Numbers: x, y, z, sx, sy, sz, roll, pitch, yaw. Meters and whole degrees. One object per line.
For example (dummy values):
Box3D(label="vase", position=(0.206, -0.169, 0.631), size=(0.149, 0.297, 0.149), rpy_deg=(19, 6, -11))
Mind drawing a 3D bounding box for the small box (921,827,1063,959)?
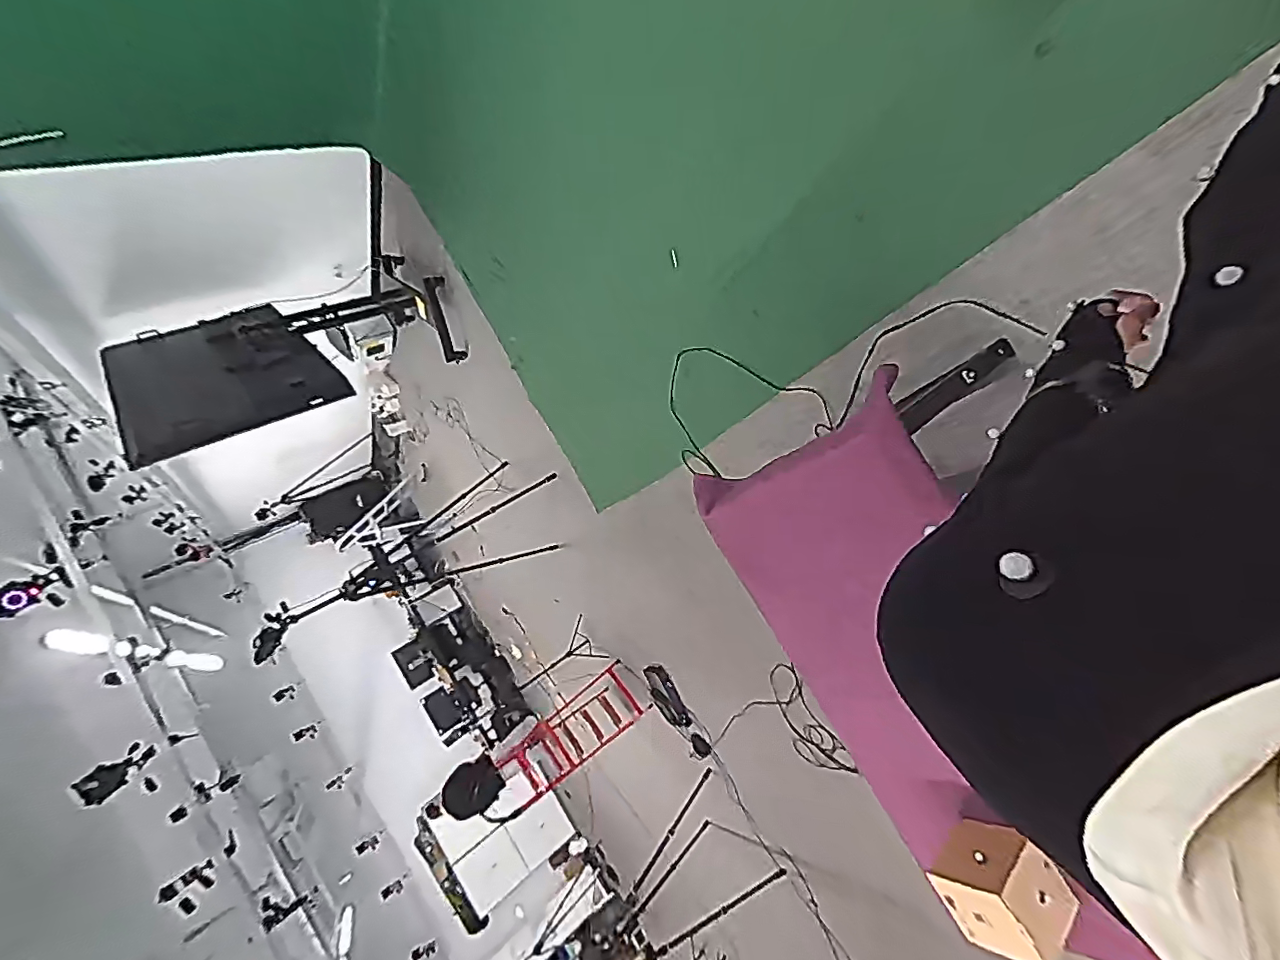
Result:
Box3D(label="small box", position=(0.744, 0.870, 1.136), size=(0.168, 0.176, 0.179), rpy_deg=(59, 147, 6))
